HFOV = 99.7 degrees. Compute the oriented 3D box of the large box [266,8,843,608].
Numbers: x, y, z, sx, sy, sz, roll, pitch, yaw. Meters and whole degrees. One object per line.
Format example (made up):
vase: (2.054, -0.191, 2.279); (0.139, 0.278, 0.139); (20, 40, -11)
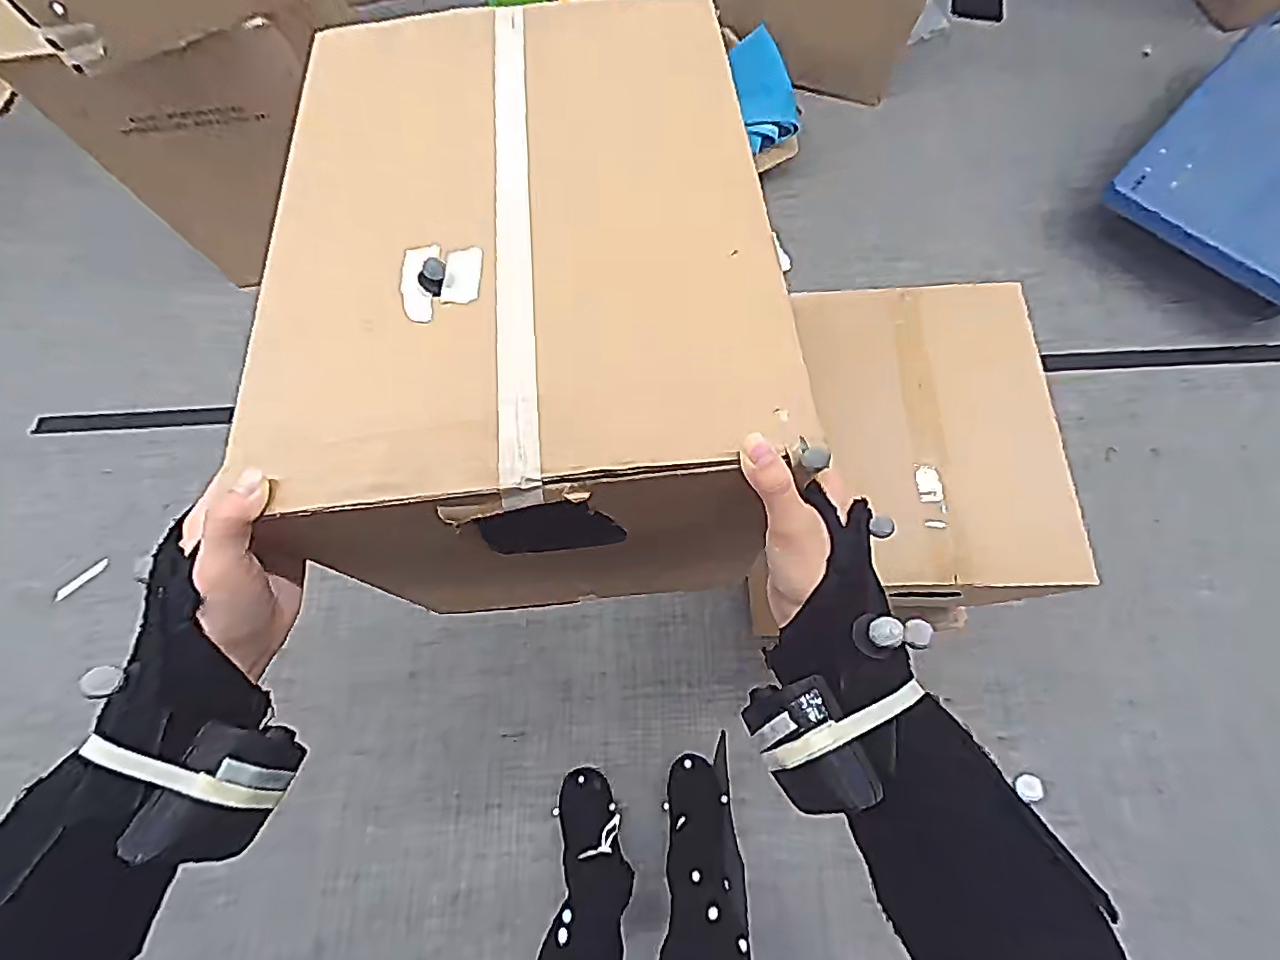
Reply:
large box: (-0.065, -0.123, 0.492); (0.320, 0.320, 0.408); (-7, 68, 0)
